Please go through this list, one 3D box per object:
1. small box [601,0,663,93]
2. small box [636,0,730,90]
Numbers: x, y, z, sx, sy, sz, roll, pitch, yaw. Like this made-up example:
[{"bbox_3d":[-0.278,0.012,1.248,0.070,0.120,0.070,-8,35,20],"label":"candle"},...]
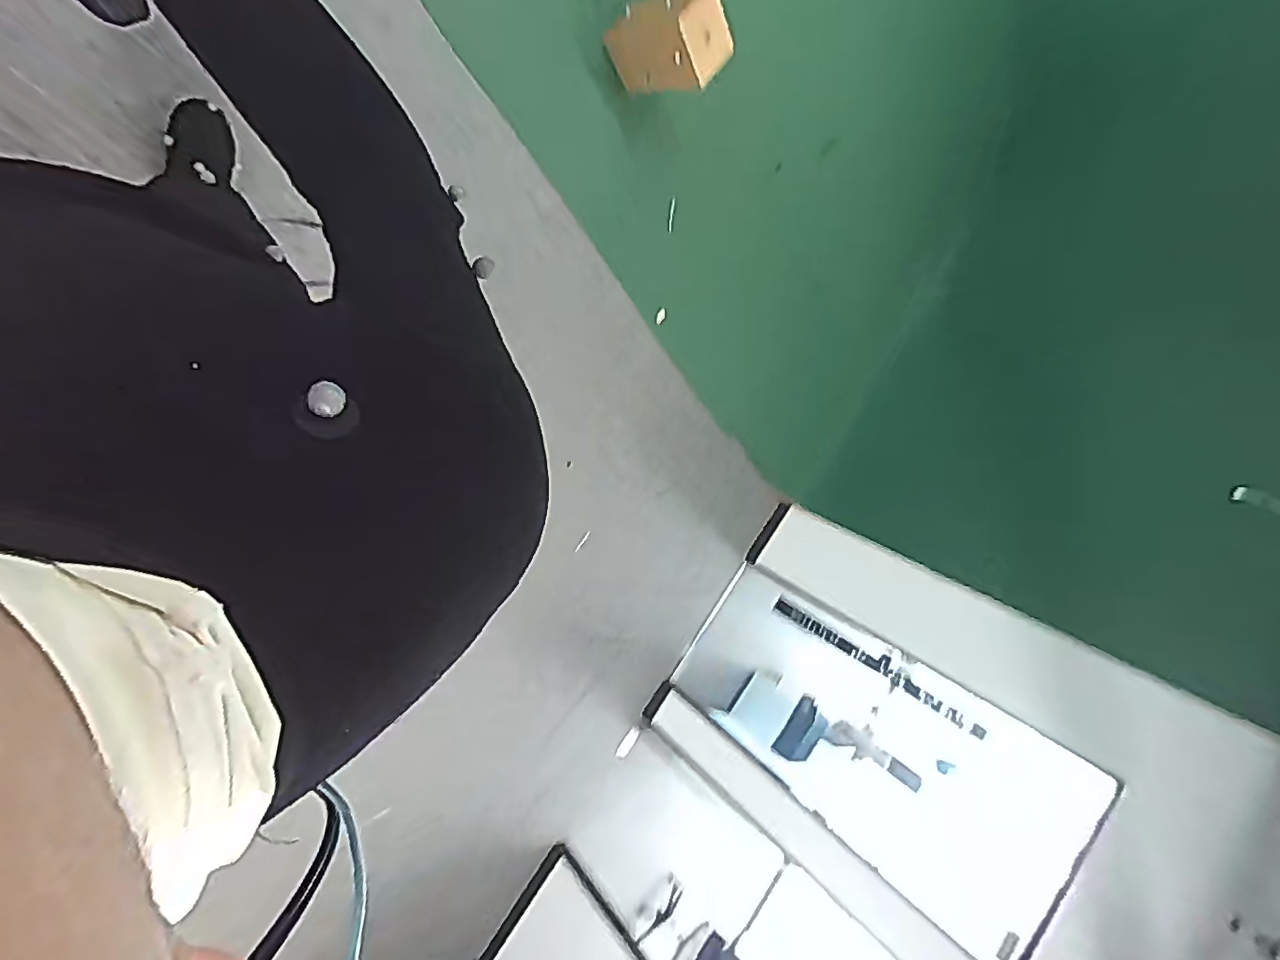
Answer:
[{"bbox_3d":[0.015,-1.324,1.651,0.168,0.176,0.179,-54,141,-8],"label":"small box"},{"bbox_3d":[0.122,-1.258,1.549,0.168,0.176,0.179,-54,140,-7],"label":"small box"}]
